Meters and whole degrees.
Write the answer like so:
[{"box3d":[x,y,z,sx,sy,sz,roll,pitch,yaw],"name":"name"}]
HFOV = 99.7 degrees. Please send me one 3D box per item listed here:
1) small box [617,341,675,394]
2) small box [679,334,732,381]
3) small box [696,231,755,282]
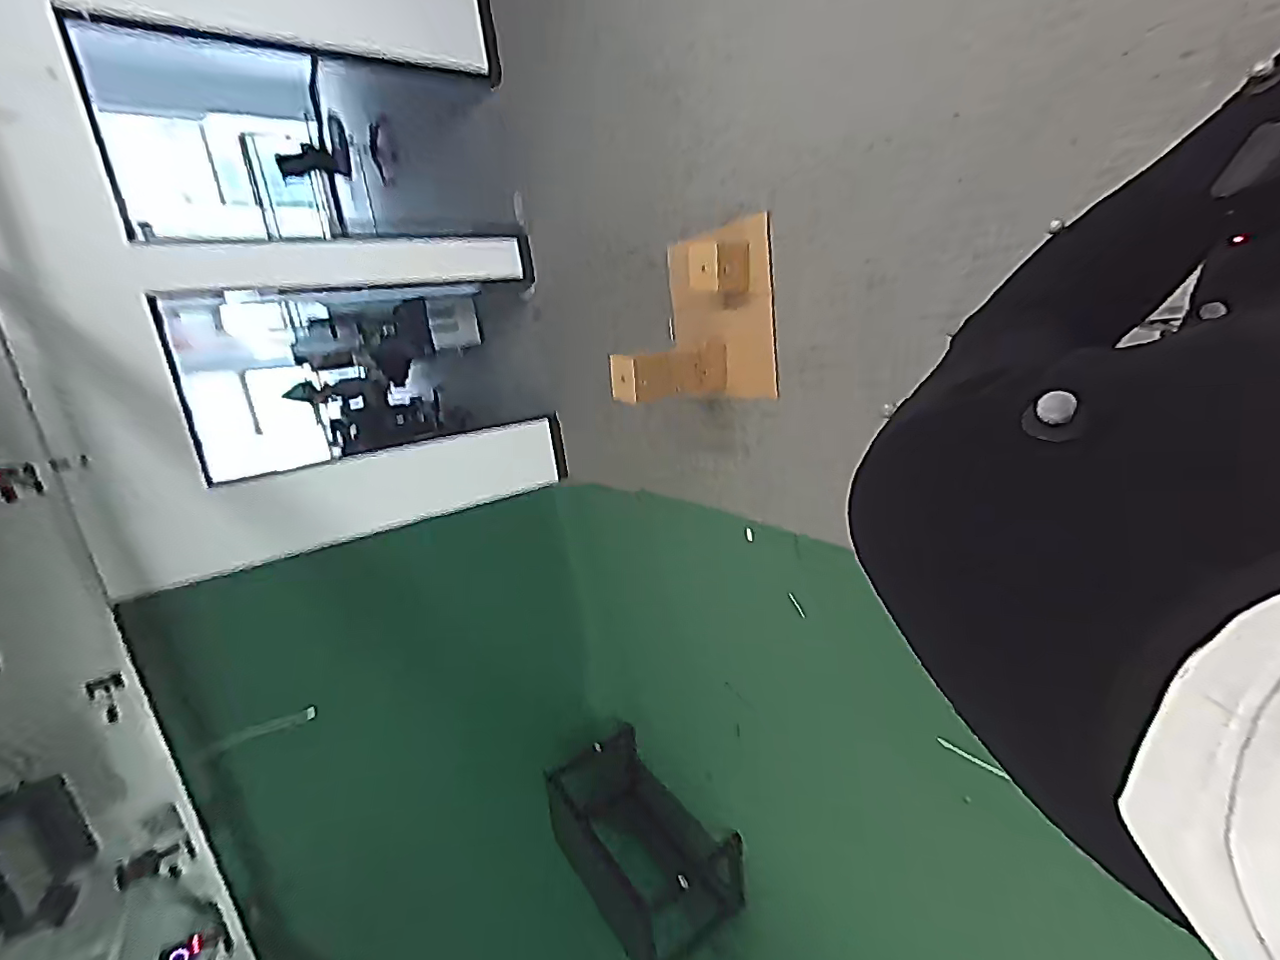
[{"box3d":[0.027,-0.455,2.165,0.168,0.176,0.179,24,124,51],"name":"small box"},{"box3d":[0.287,-0.534,2.348,0.168,0.176,0.179,22,122,53],"name":"small box"},{"box3d":[0.337,-0.872,2.111,0.168,0.176,0.179,24,125,52],"name":"small box"}]
